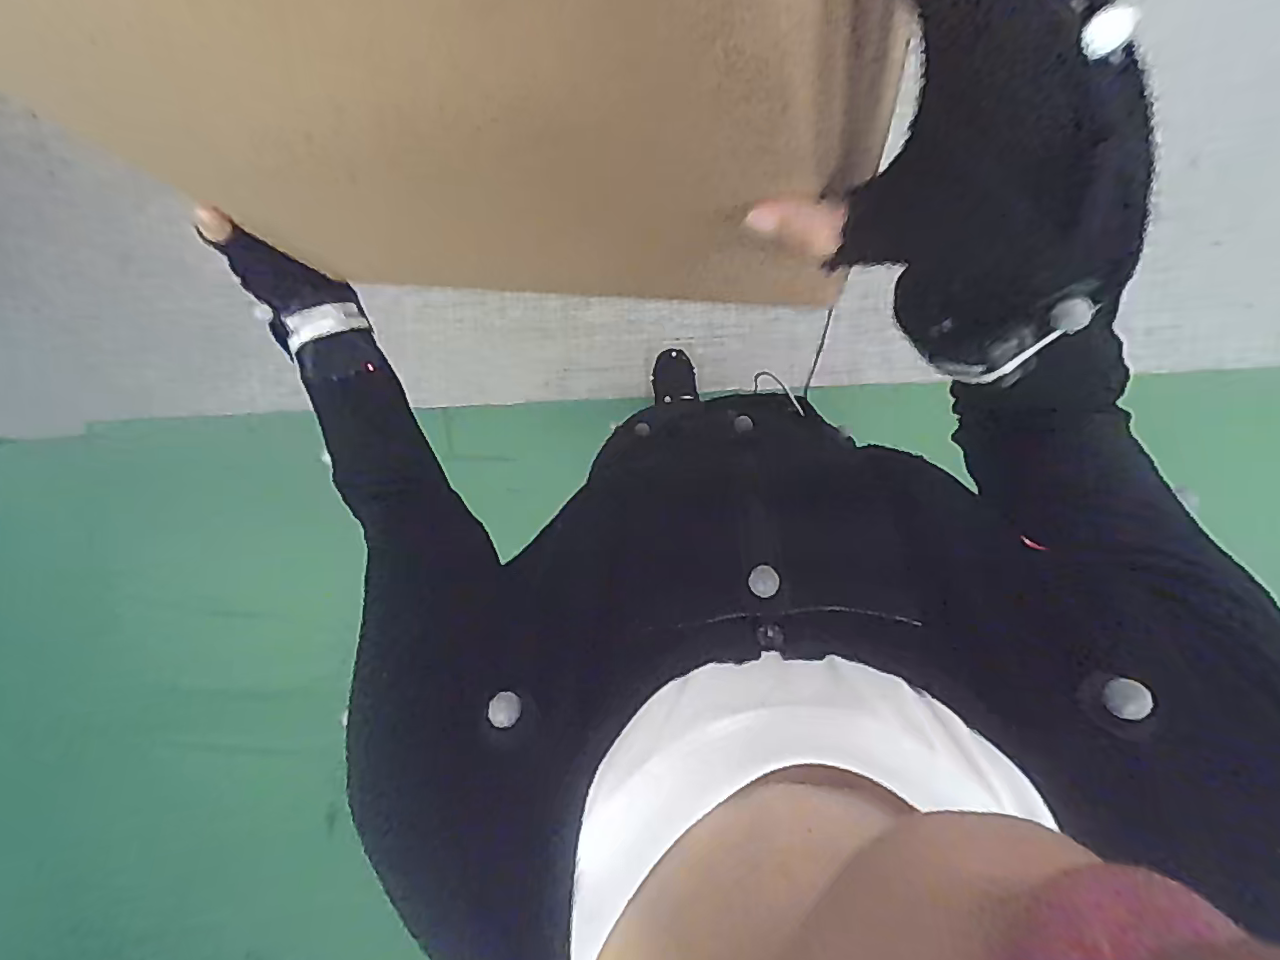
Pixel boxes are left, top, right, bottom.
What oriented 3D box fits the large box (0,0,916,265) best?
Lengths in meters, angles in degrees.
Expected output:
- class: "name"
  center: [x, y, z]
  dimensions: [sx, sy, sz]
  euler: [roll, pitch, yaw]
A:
- class: "large box"
  center: [-0.091, -0.315, 0.231]
  dimensions: [0.408, 0.320, 0.320]
  euler: [13, 84, 26]
